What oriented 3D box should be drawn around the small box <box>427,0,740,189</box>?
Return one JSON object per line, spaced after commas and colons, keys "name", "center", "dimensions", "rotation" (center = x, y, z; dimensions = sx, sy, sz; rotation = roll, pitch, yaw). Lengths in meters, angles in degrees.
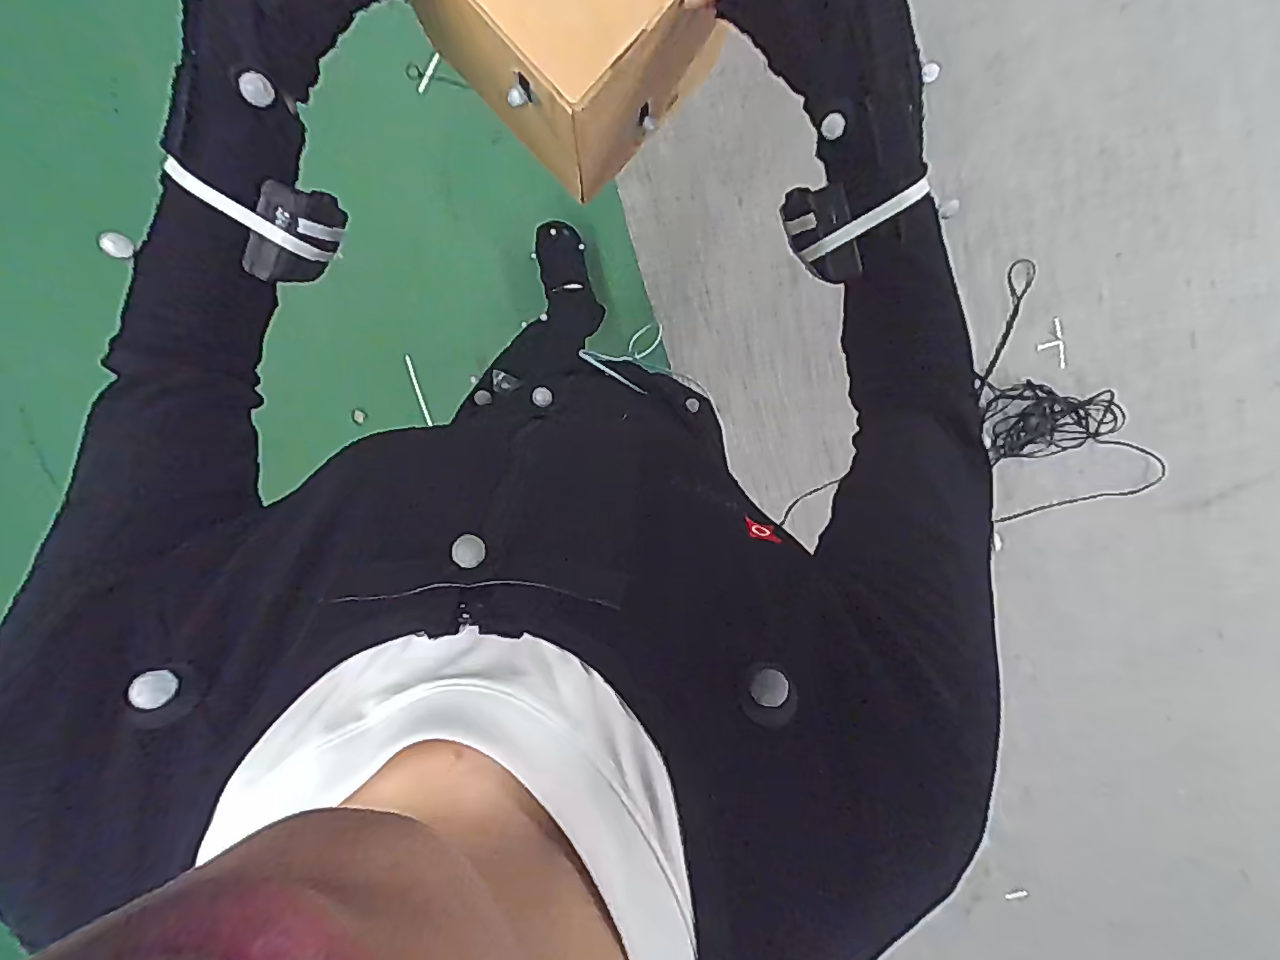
{"name": "small box", "center": [-0.044, -0.346, 0.375], "dimensions": [0.179, 0.176, 0.168], "rotation": [44, 95, -10]}
